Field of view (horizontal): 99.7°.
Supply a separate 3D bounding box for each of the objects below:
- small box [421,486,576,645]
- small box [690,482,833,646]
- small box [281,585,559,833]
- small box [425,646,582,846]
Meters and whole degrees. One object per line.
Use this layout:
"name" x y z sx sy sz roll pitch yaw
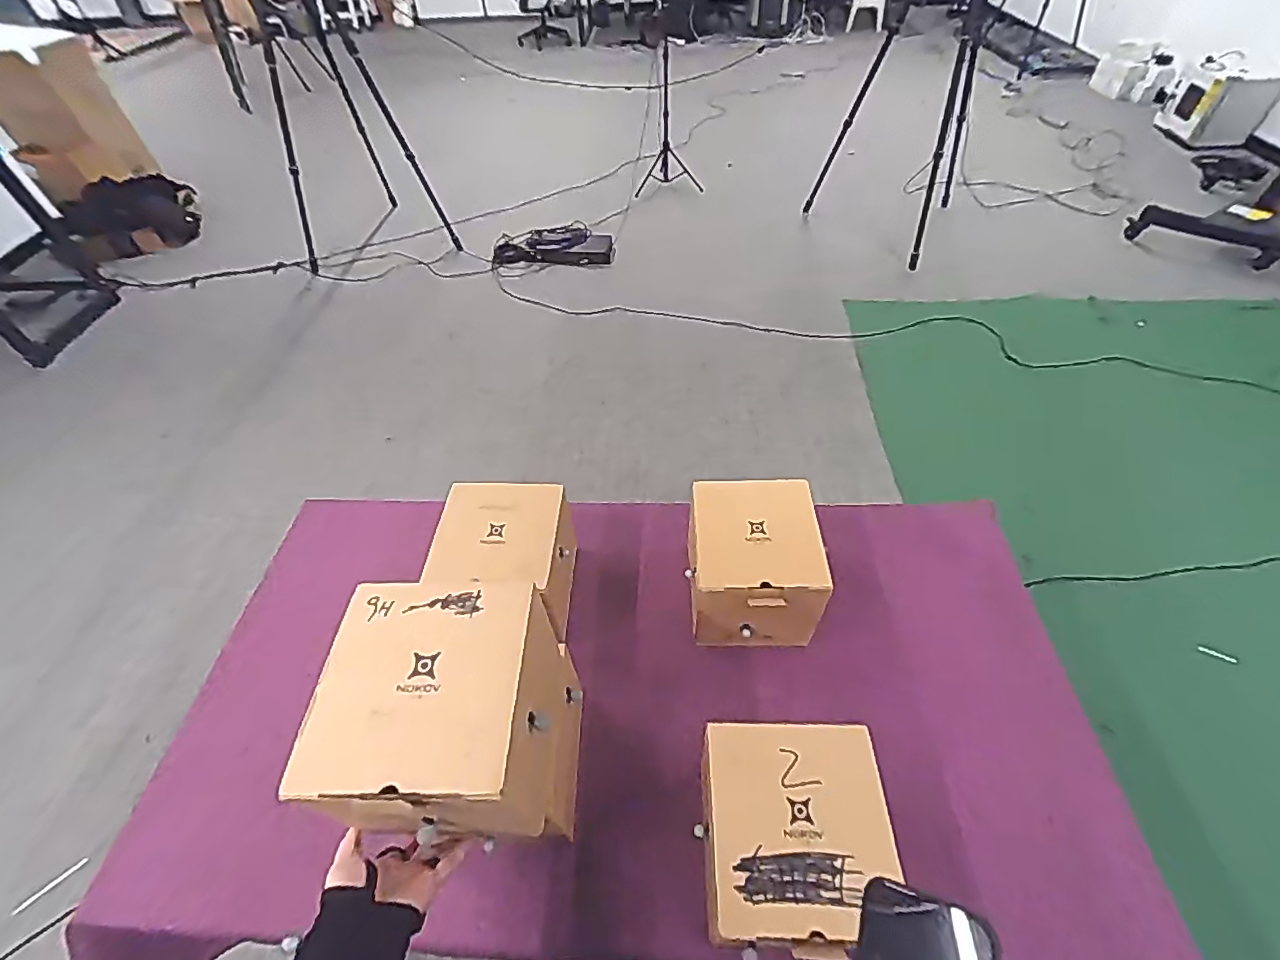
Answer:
"small box" -0.191 0.129 0.792 0.168 0.176 0.179 1 50 3
"small box" 0.159 0.122 0.778 0.168 0.176 0.179 -2 50 2
"small box" -0.174 0.214 0.499 0.168 0.176 0.179 -1 50 2
"small box" -0.163 0.311 0.633 0.168 0.176 0.179 -1 49 3
